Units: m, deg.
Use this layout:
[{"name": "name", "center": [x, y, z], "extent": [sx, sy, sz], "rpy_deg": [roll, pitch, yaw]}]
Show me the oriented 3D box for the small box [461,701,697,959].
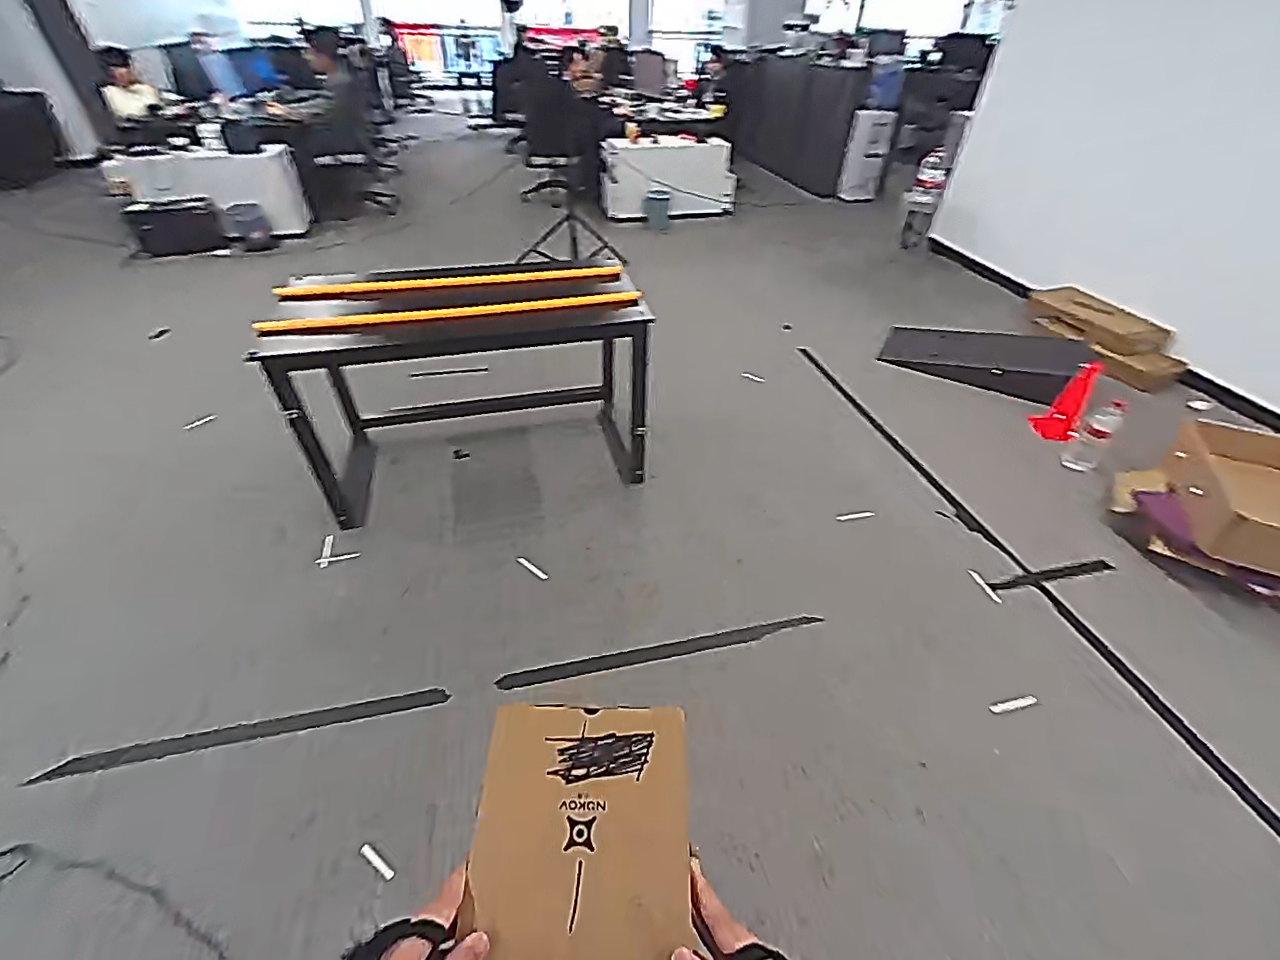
[{"name": "small box", "center": [-0.041, 0.316, 0.482], "extent": [0.168, 0.176, 0.179], "rpy_deg": [0, 48, 1]}]
